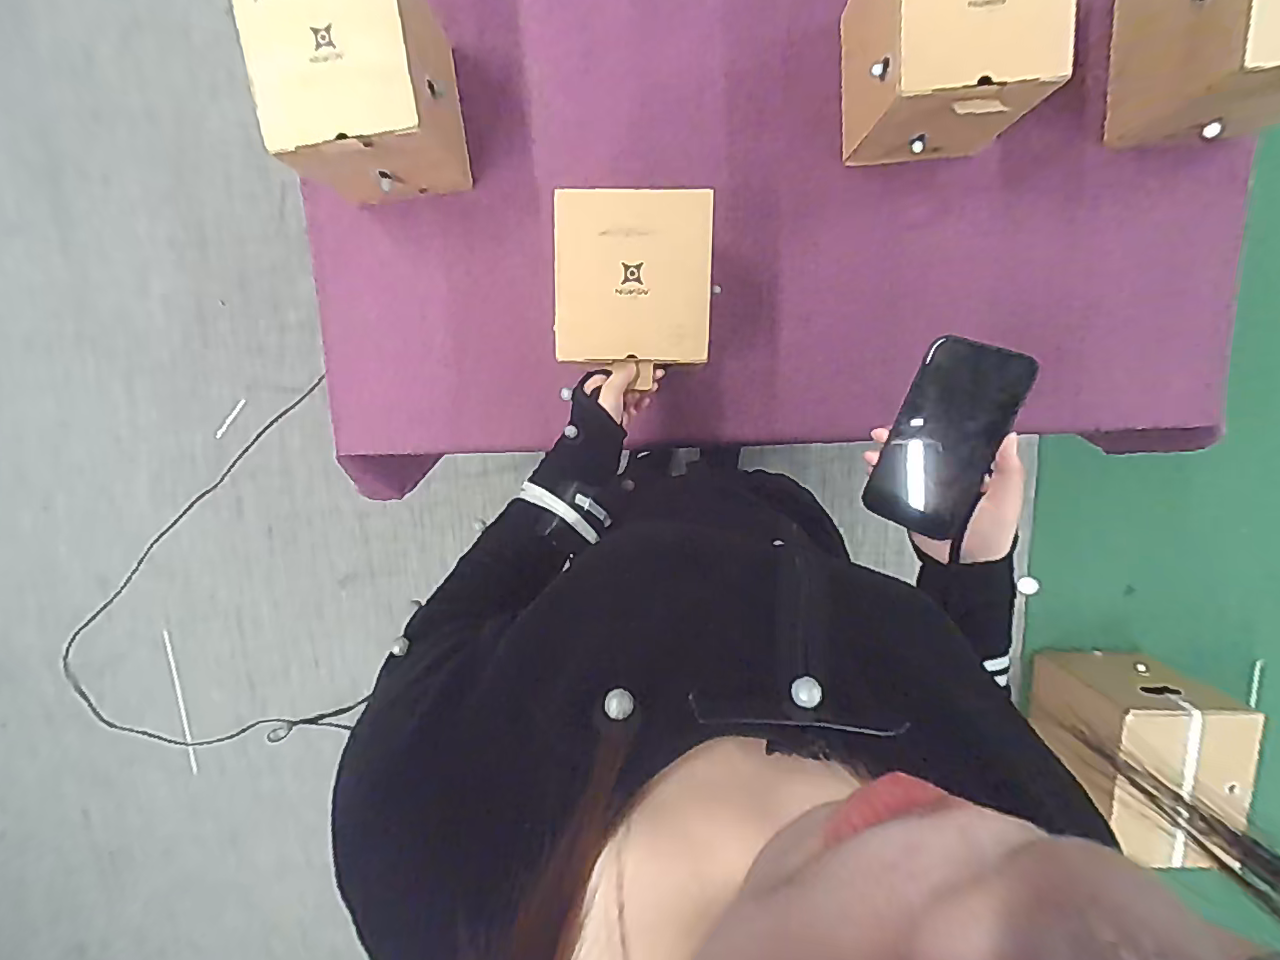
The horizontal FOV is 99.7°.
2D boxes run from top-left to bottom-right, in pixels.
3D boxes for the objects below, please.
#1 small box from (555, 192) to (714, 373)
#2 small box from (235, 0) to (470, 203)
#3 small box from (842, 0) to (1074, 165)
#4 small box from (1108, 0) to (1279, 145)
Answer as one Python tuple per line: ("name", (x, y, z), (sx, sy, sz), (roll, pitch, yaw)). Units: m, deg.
("small box", (-0.005, -0.220, 0.645), (0.168, 0.176, 0.179), (1, 98, 1))
("small box", (-0.310, -0.438, 0.622), (0.168, 0.176, 0.179), (-7, 100, 2))
("small box", (0.330, -0.478, 0.592), (0.168, 0.176, 0.179), (-4, 99, 3))
("small box", (0.648, -0.489, 0.573), (0.168, 0.176, 0.179), (-2, 99, 4))
